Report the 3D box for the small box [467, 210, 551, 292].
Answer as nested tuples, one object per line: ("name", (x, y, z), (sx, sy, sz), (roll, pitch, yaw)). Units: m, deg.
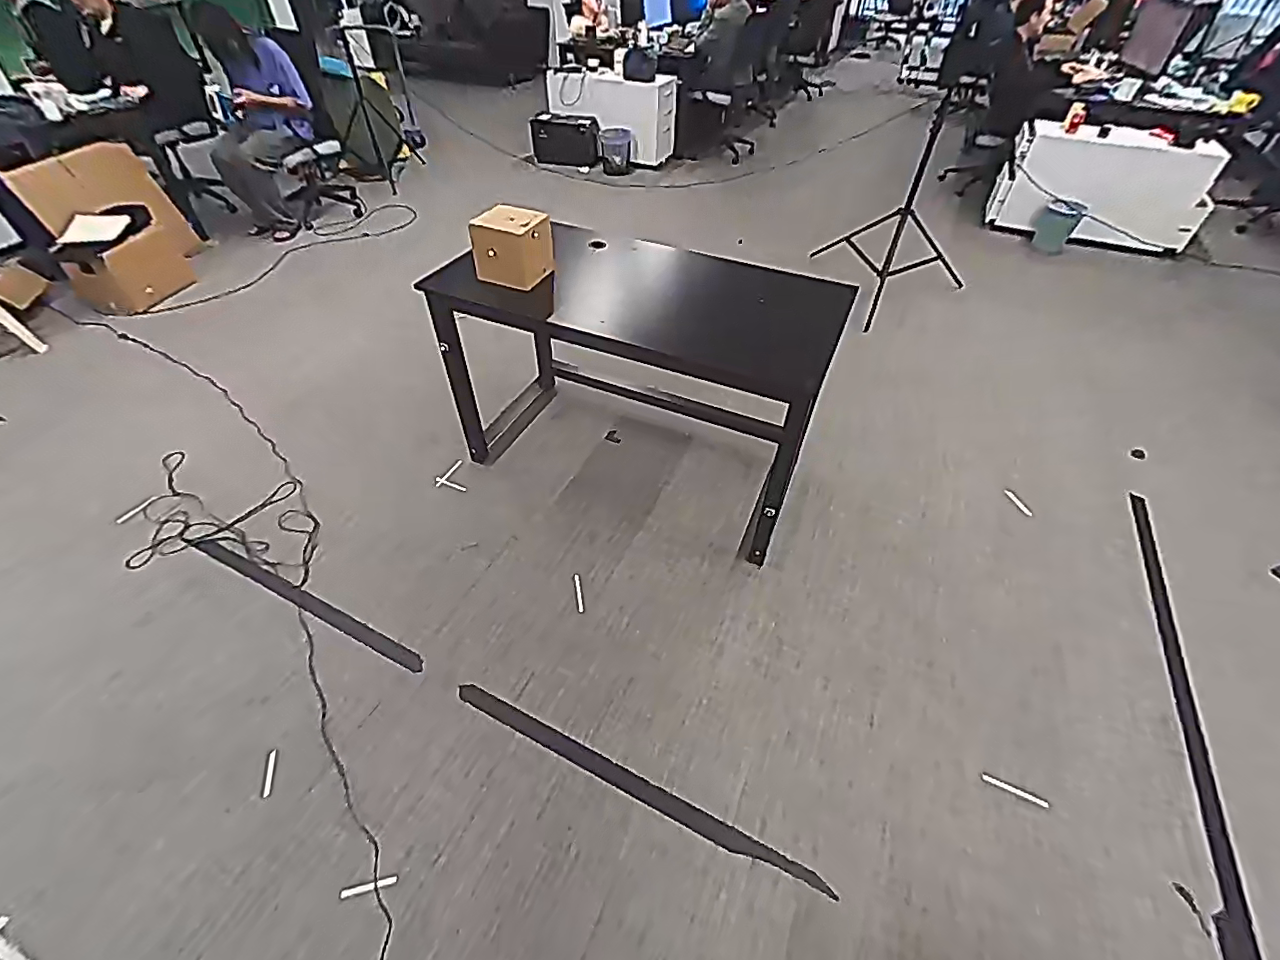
("small box", (-0.383, -0.680, 1.610), (0.179, 0.176, 0.168), (17, 48, 15))
